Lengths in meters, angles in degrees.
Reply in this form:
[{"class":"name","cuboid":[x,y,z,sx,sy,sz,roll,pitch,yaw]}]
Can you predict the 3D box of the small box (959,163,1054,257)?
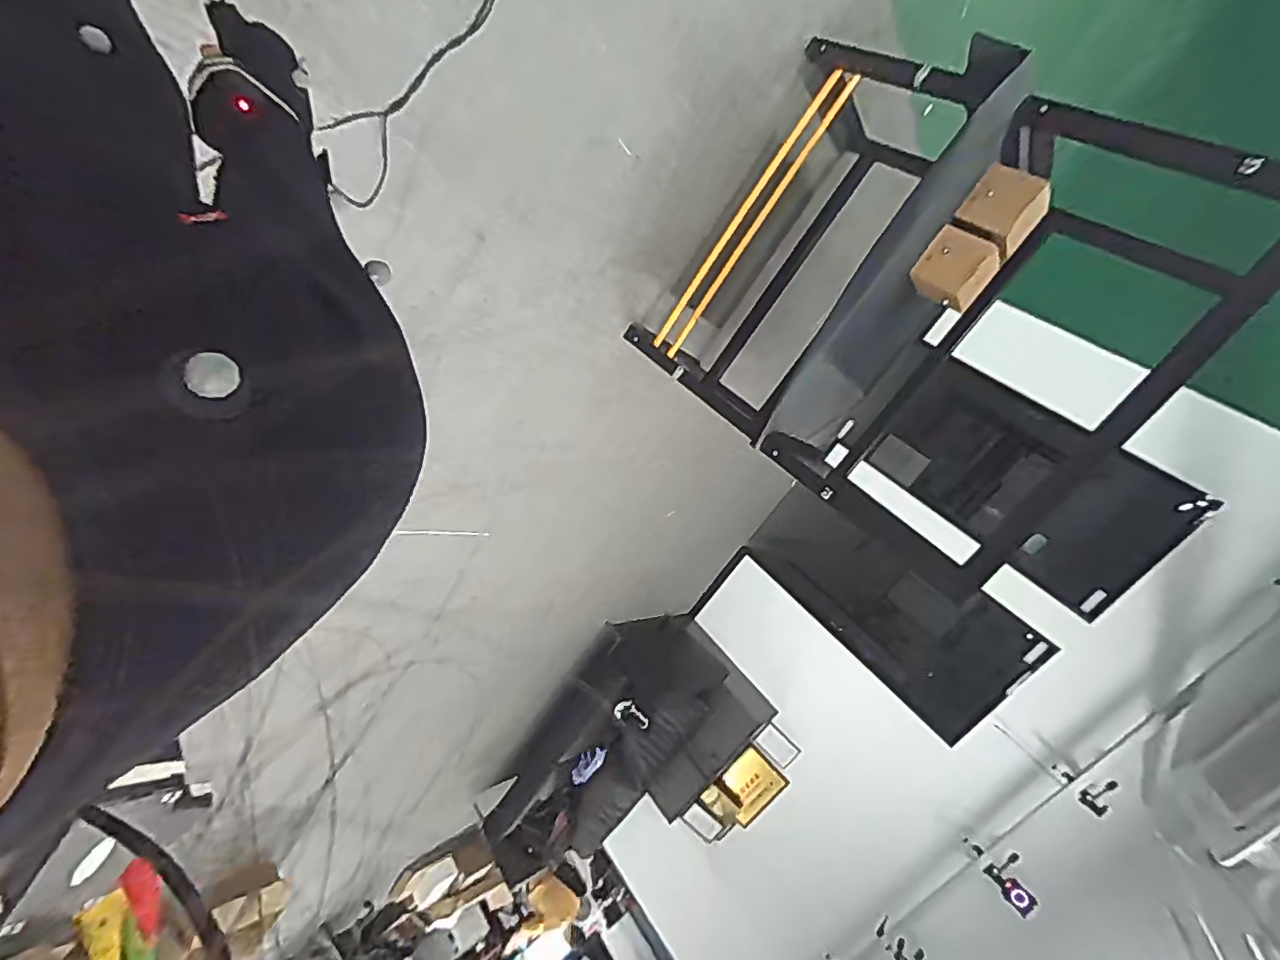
[{"class":"small box","cuboid":[1.084,-0.804,1.608,0.179,0.176,0.168,7,123,-54]}]
